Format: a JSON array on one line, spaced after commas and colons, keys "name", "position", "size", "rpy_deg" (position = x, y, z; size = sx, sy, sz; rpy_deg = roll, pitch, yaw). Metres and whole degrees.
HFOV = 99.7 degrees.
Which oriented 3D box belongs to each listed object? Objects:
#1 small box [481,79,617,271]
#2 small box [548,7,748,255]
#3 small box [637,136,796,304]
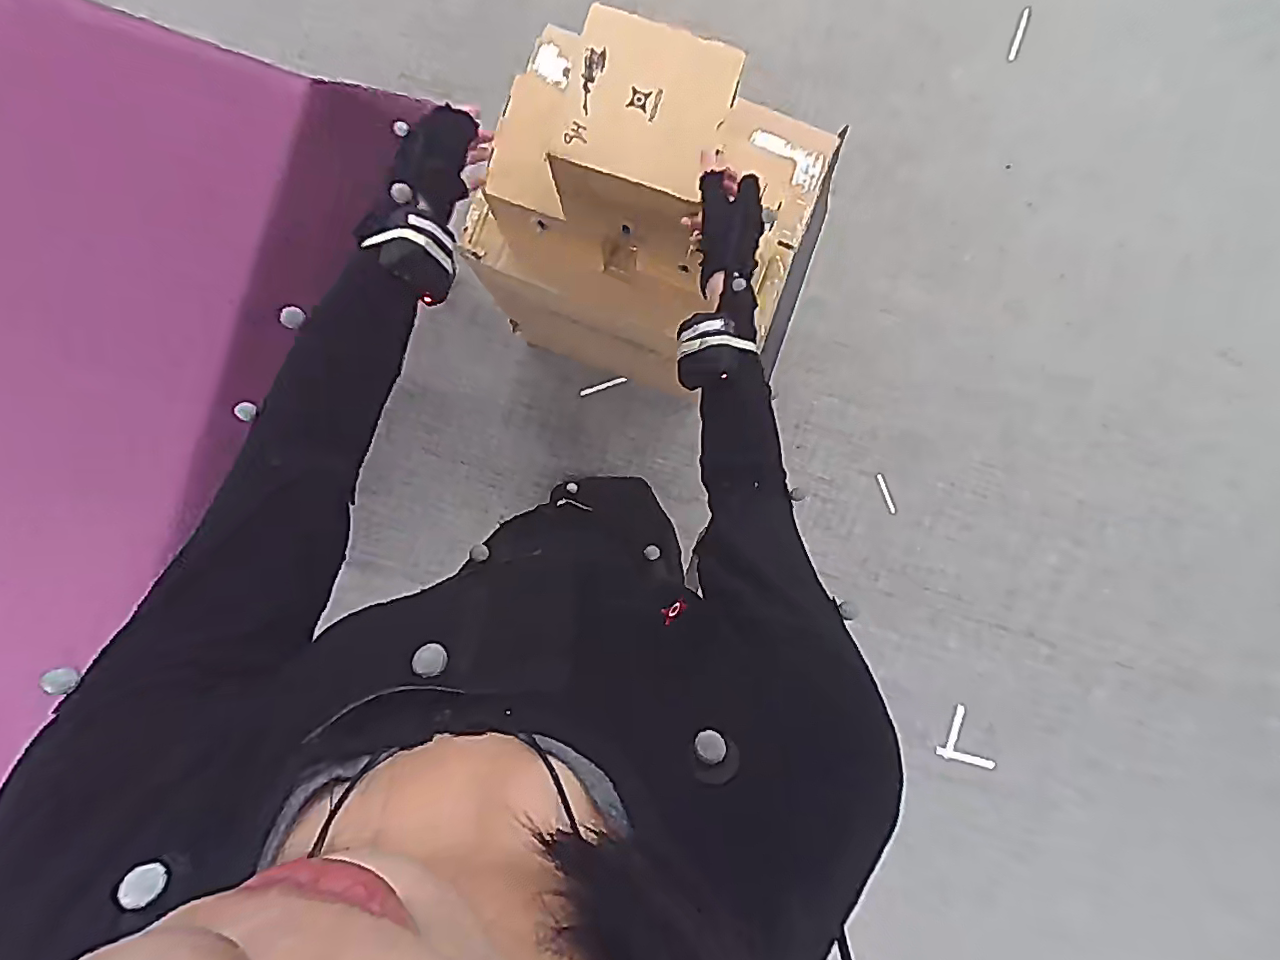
[{"name": "small box", "position": [-0.112, -0.439, 0.810], "size": [0.179, 0.176, 0.168], "rpy_deg": [18, 91, -3]}, {"name": "small box", "position": [0.007, -0.396, 0.651], "size": [0.179, 0.176, 0.168], "rpy_deg": [18, 91, -1]}, {"name": "small box", "position": [0.104, -0.385, 0.816], "size": [0.179, 0.176, 0.168], "rpy_deg": [22, 91, 0]}]
